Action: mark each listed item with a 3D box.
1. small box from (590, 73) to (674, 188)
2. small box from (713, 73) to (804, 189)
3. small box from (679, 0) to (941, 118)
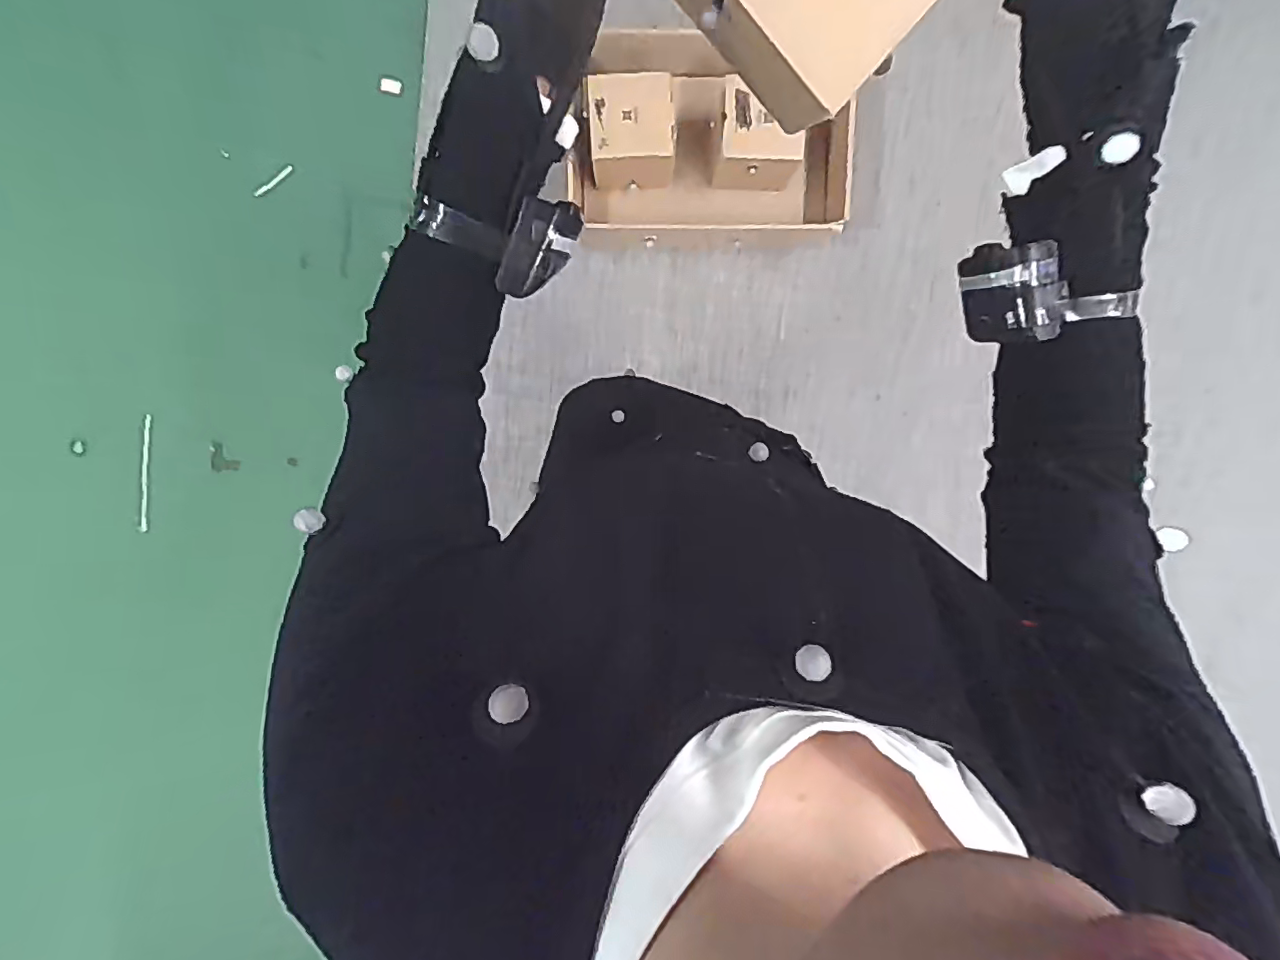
[{"bbox_3d":[-0.020,-0.776,1.215,0.179,0.176,0.168,-3,97,-1],"label":"small box"},{"bbox_3d":[0.261,-0.775,1.216,0.179,0.176,0.168,2,98,0],"label":"small box"},{"bbox_3d":[0.111,-0.356,0.329,0.179,0.176,0.168,39,116,-17],"label":"small box"}]
